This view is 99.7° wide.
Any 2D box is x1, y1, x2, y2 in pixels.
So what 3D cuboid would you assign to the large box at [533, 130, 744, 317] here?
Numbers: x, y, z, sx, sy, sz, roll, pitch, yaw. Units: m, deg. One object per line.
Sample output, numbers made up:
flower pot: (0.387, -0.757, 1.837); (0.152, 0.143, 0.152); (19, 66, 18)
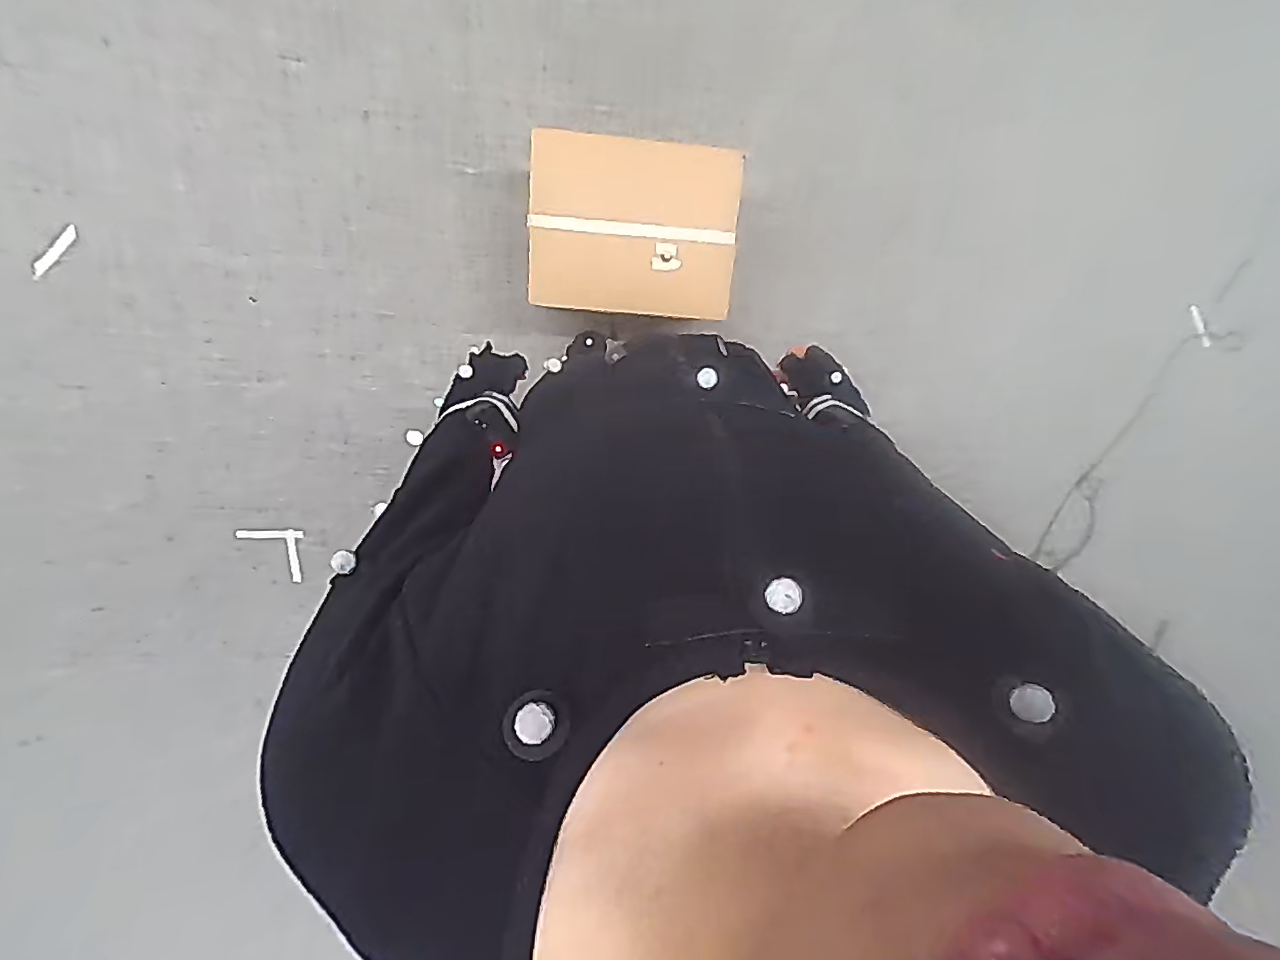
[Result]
large box: (-0.022, -0.531, 1.192); (0.408, 0.320, 0.320); (2, 107, -6)
